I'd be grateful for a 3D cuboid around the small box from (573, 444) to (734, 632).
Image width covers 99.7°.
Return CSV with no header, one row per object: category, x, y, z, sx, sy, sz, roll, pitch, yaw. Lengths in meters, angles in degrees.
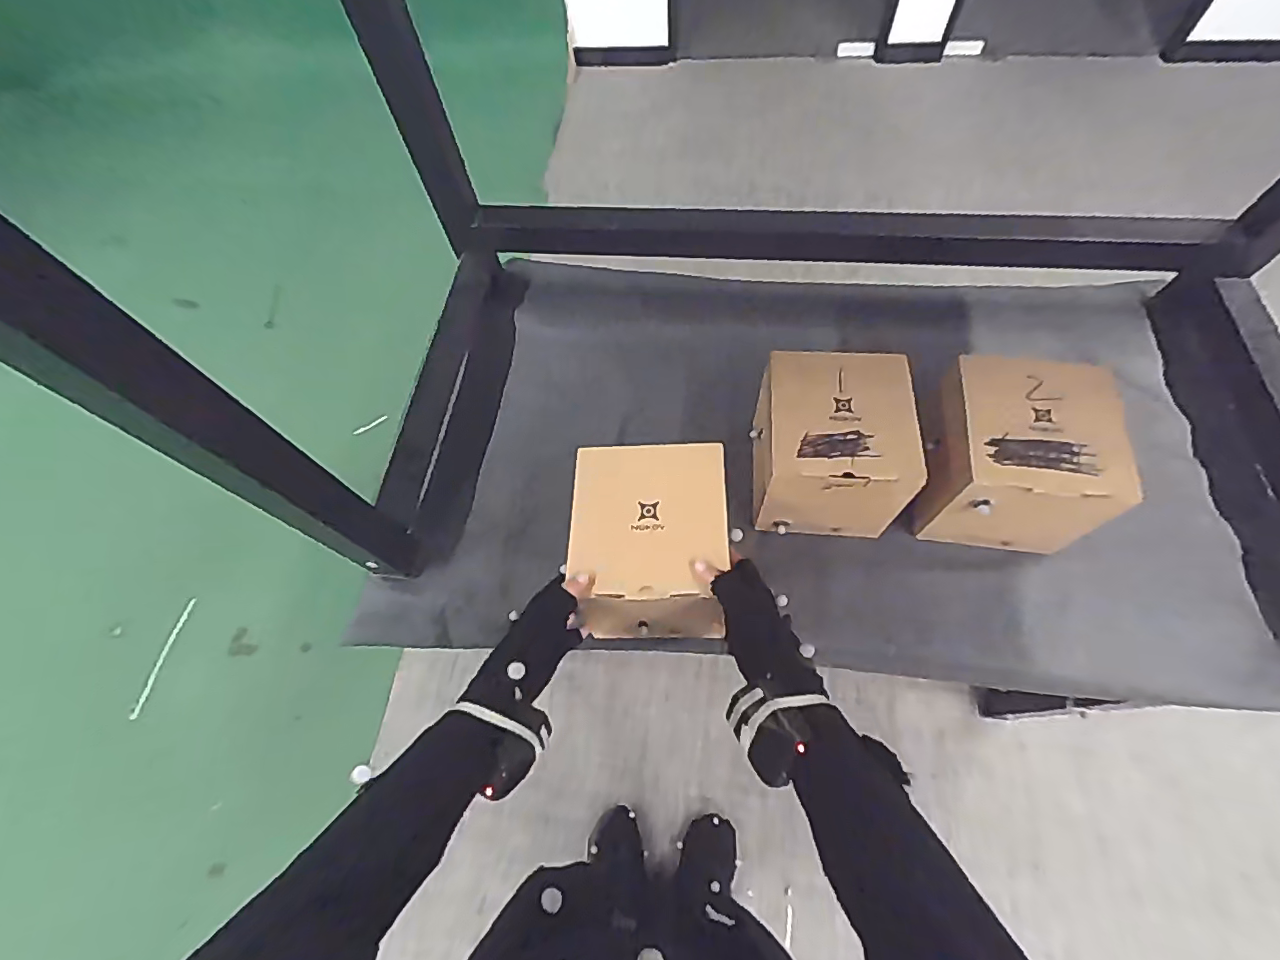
small box,0.022,0.075,0.653,0.168,0.176,0.179,-2,61,6
